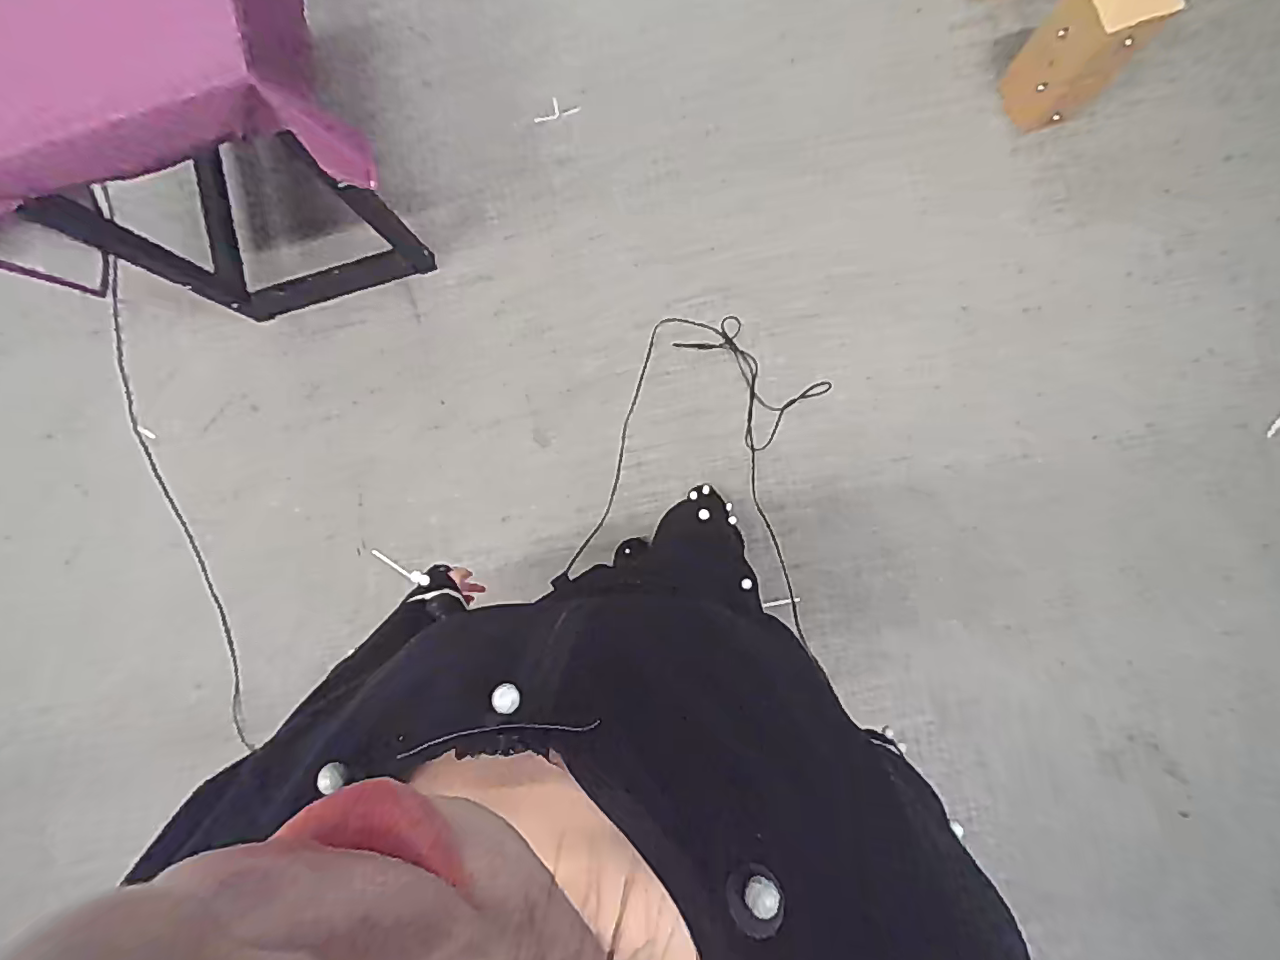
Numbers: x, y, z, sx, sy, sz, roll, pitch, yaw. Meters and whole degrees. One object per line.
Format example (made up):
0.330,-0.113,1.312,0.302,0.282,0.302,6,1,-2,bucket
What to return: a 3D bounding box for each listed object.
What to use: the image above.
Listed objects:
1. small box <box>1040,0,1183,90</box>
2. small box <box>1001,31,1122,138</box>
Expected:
1.085,-1.065,1.266,0.179,0.176,0.168,-16,86,3,small box
1.101,-1.059,1.430,0.168,0.176,0.179,-17,86,3,small box
